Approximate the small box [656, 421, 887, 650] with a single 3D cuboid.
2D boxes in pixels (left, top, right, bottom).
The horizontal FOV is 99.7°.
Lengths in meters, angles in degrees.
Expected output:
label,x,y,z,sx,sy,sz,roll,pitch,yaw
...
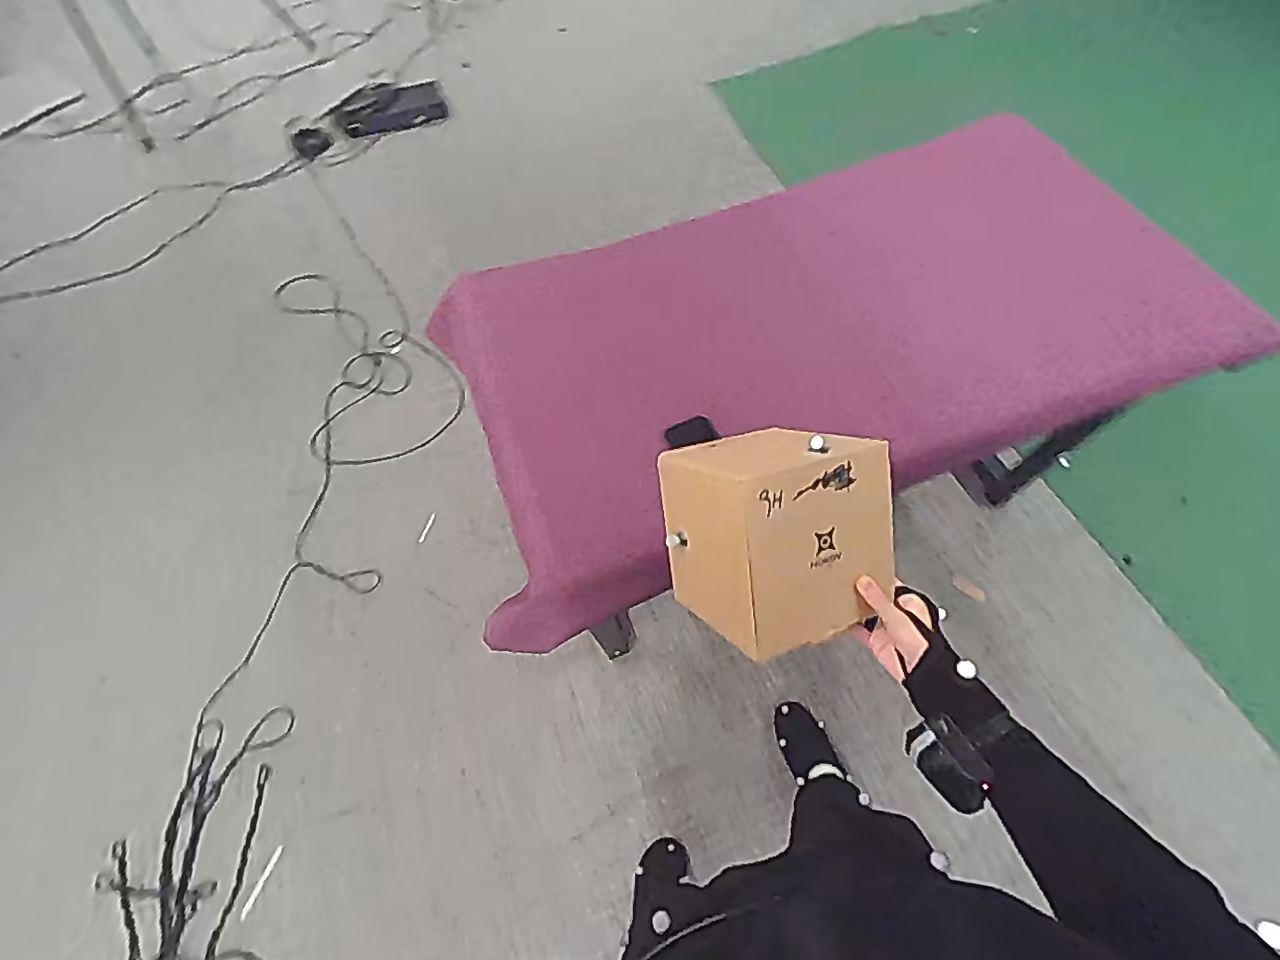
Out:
label,x,y,z,sx,sy,sz,roll,pitch,yaw
small box,0.130,0.042,0.567,0.168,0.176,0.179,-14,105,-21
